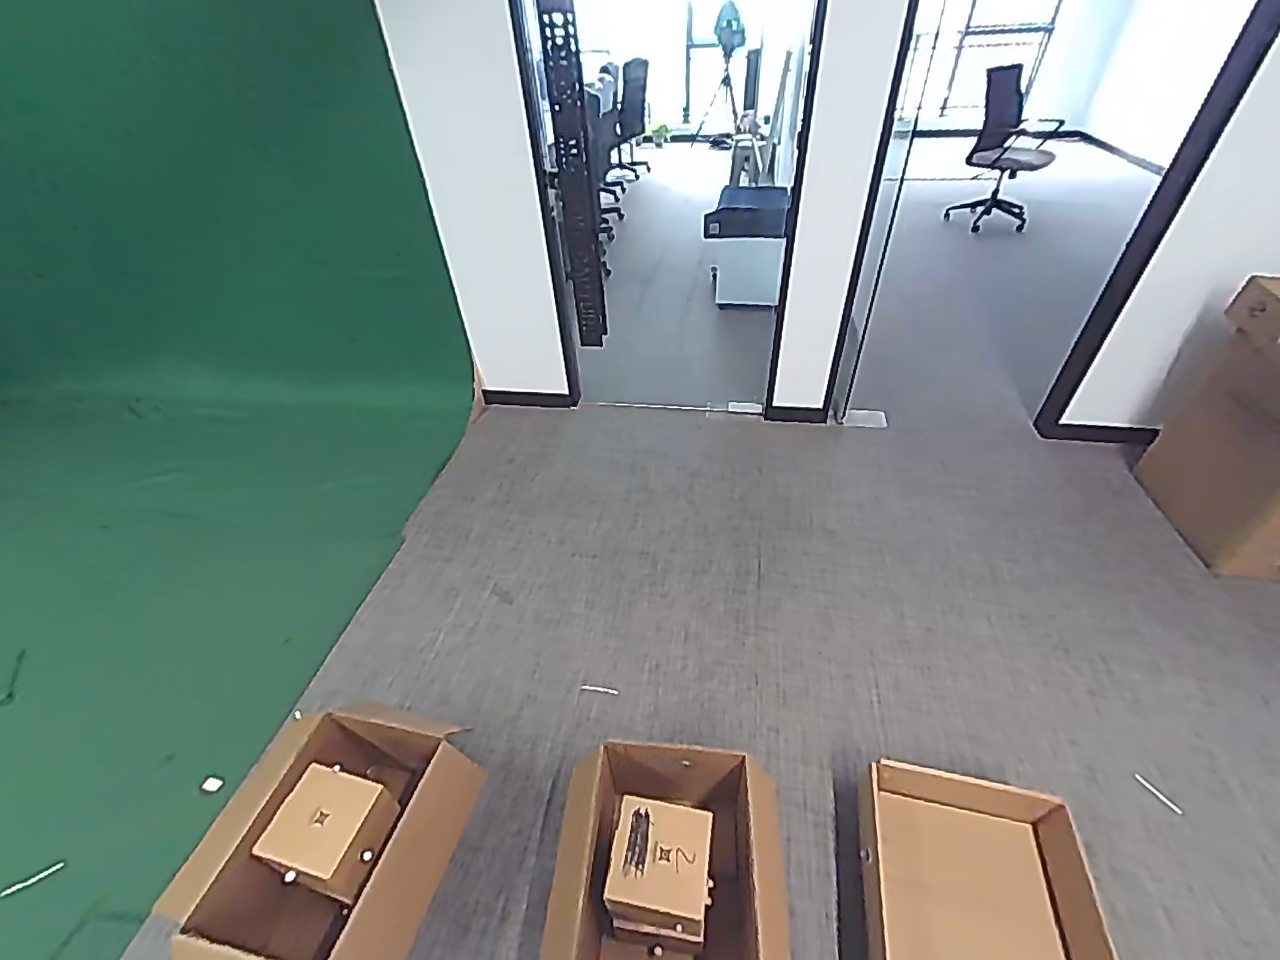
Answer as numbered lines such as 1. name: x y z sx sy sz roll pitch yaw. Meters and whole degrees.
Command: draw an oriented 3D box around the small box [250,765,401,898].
1. small box: -0.620 0.714 1.094 0.179 0.176 0.168 9 41 12
